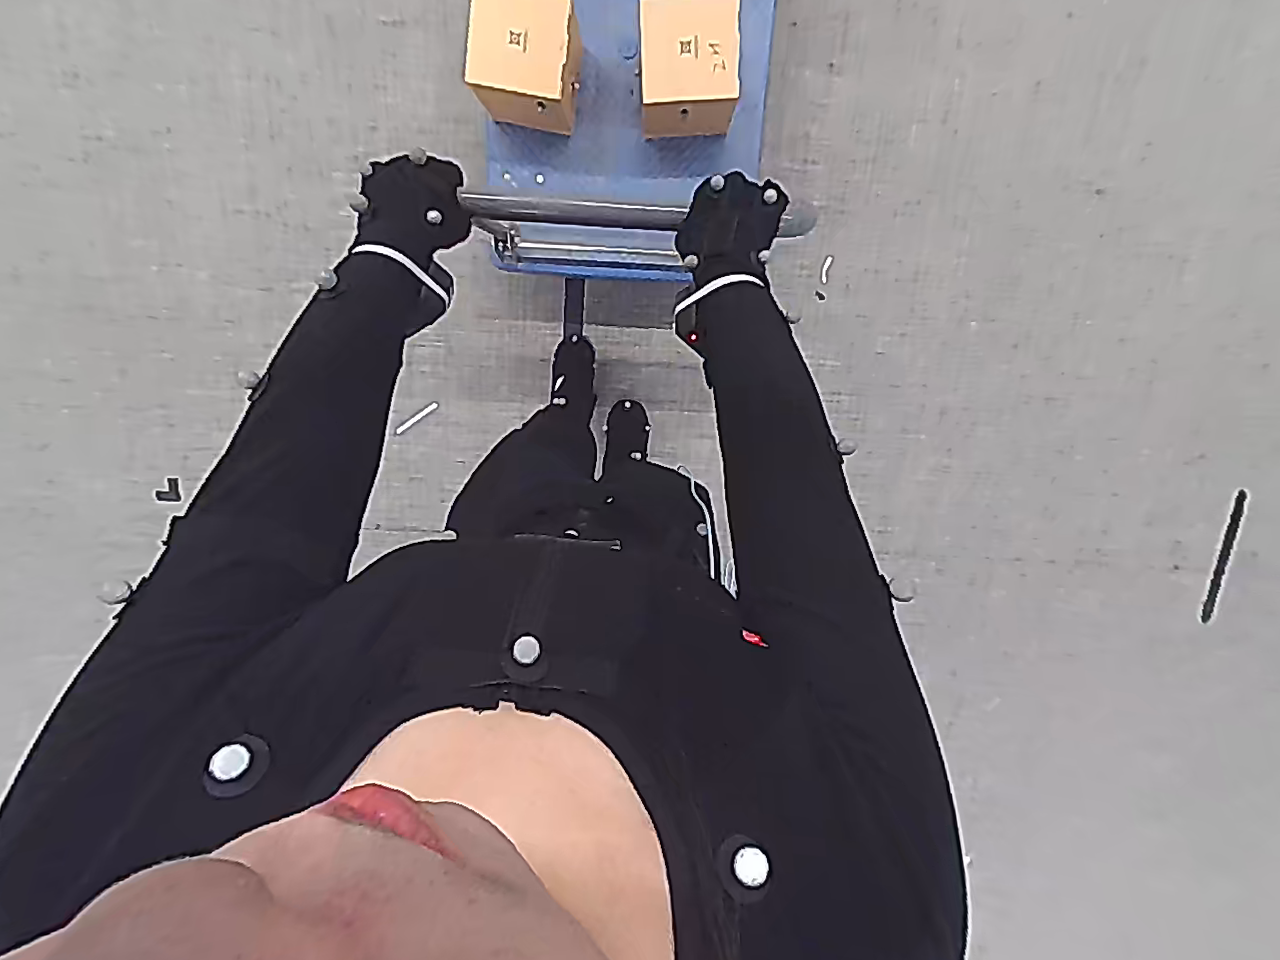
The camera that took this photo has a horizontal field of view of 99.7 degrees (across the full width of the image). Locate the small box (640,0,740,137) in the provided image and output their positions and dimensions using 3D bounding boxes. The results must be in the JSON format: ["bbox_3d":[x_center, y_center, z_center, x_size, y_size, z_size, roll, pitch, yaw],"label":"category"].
[{"bbox_3d":[0.092,-0.778,1.033,0.179,0.176,0.168,-2,104,2],"label":"small box"}]

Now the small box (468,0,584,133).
[{"bbox_3d":[-0.212,-0.795,1.036,0.179,0.176,0.168,9,104,-2],"label":"small box"}]
